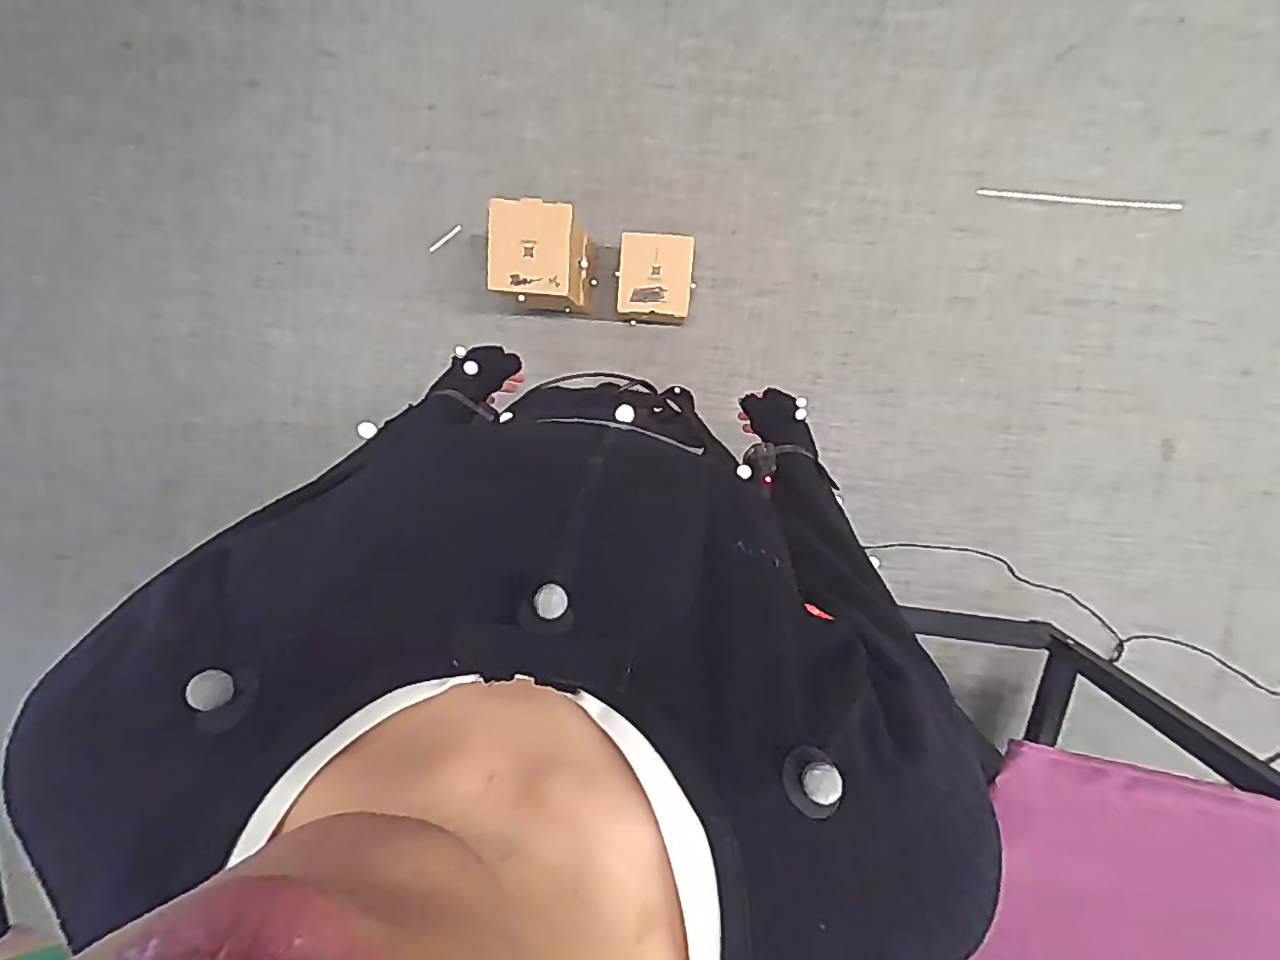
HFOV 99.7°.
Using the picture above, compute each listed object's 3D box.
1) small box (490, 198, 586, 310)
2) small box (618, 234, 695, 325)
[{"bbox_3d":[-0.211,-0.472,1.151,0.168,0.176,0.179,6,100,1],"label":"small box"},{"bbox_3d":[0.040,-0.475,1.305,0.168,0.176,0.179,5,100,1],"label":"small box"}]
